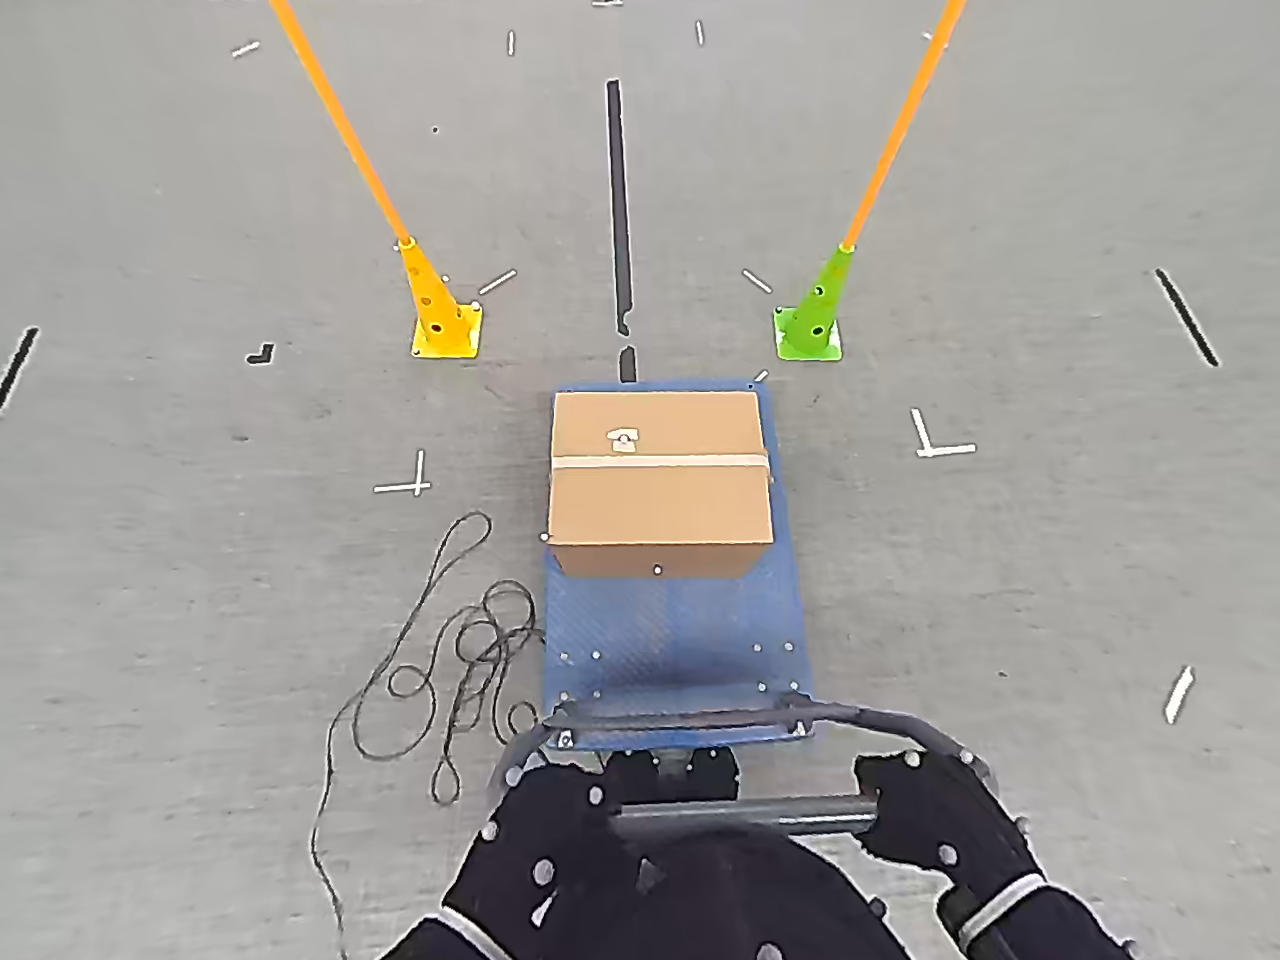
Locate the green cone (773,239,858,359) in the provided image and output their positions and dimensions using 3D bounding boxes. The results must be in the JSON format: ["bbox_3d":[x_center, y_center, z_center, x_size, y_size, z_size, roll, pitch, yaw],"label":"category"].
[{"bbox_3d":[0.534,-0.536,1.560,0.202,0.368,0.200,1,68,-2],"label":"green cone"}]

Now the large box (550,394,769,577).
[{"bbox_3d":[0.034,0.028,1.164,0.408,0.320,0.320,-1,68,0],"label":"large box"}]
